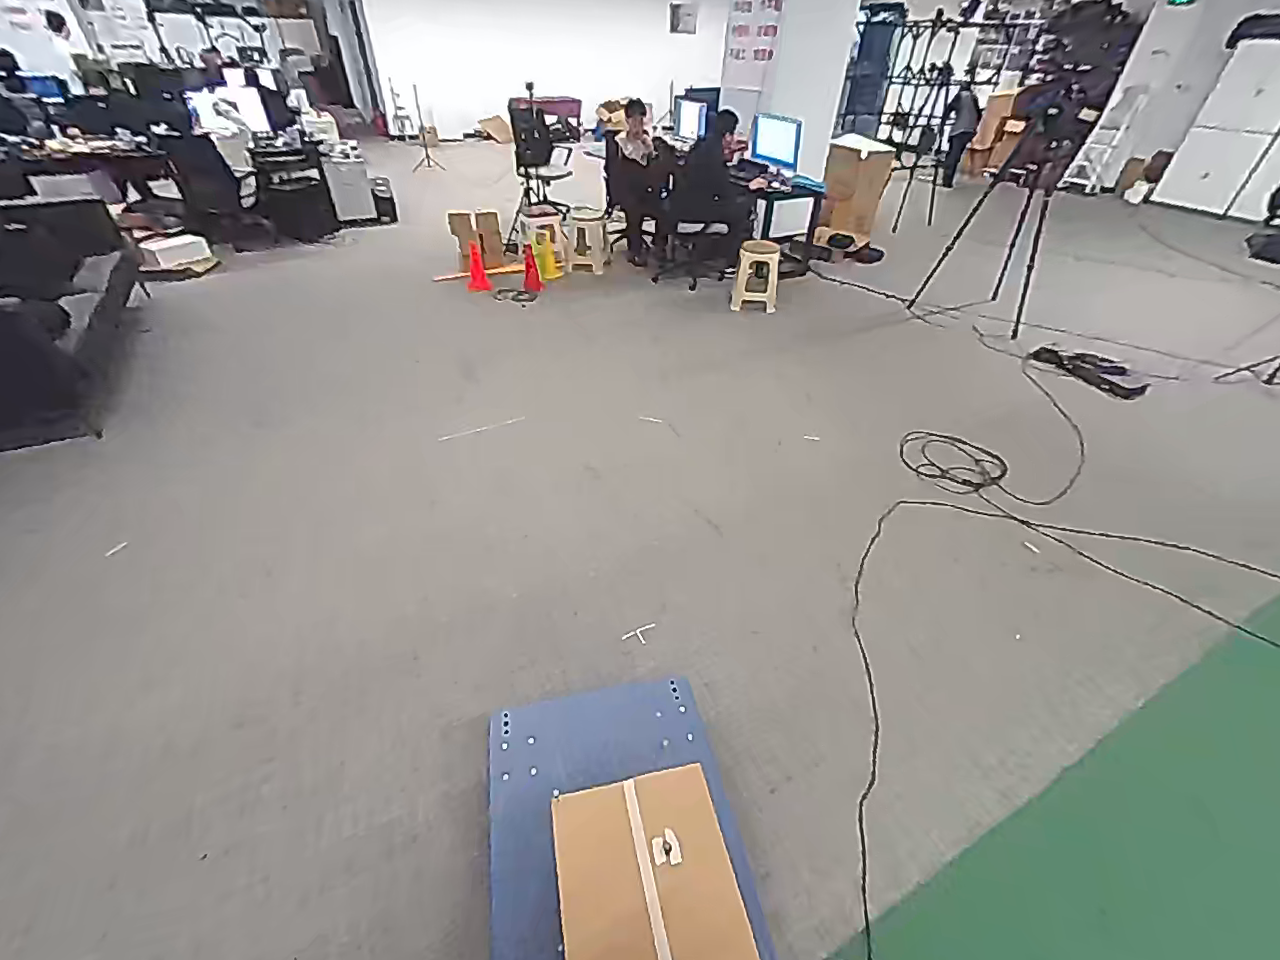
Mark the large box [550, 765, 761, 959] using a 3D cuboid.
[{"bbox_3d":[0.016,0.851,1.040,0.320,0.320,0.408,-7,38,-12],"label":"large box"}]
